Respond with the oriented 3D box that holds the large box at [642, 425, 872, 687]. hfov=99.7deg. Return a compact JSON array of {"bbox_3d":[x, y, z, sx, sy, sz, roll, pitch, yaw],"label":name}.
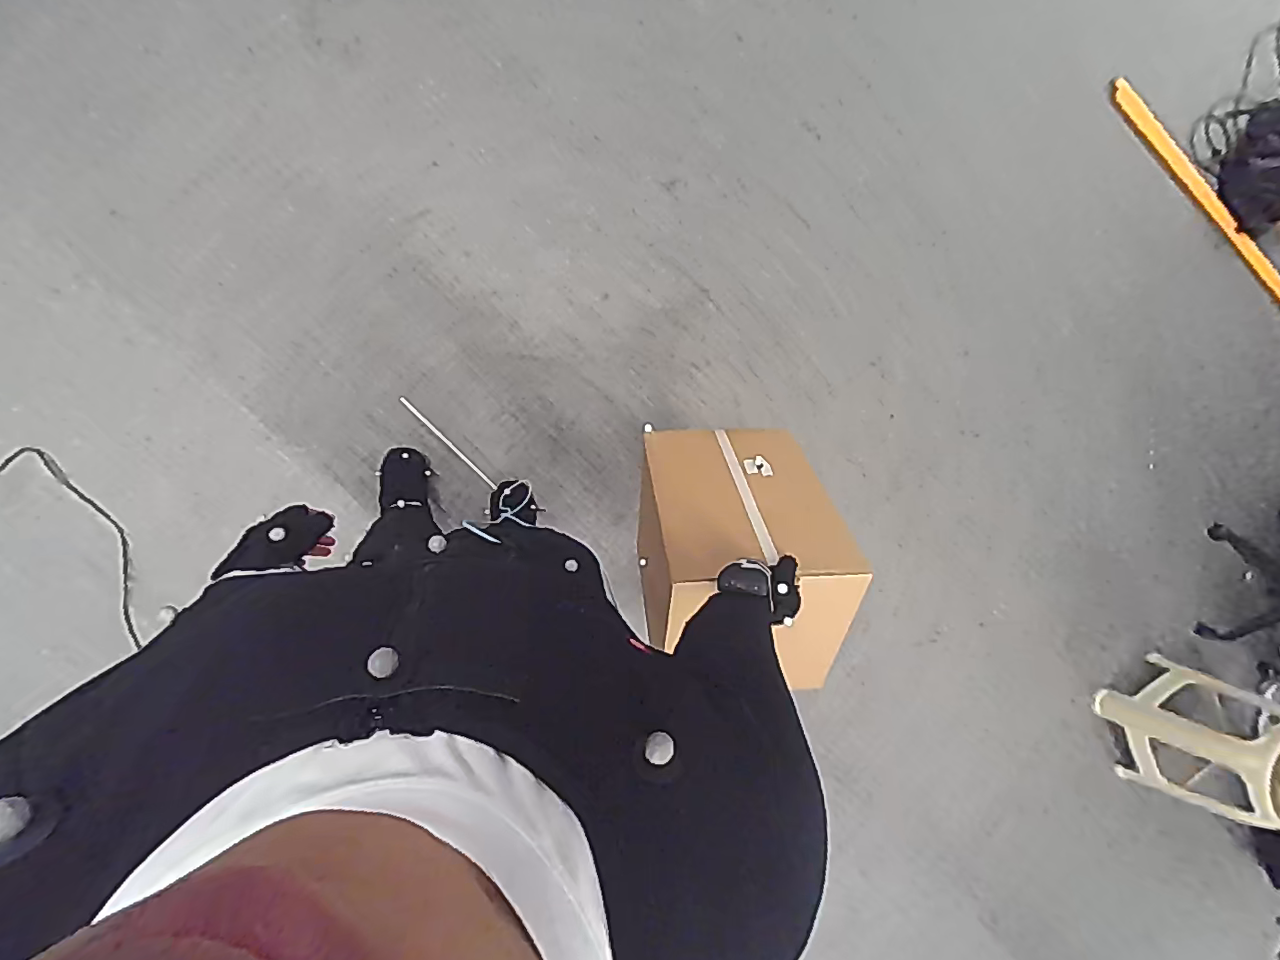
[{"bbox_3d":[0.181,0.133,1.055,0.320,0.408,0.320,-1,128,-7],"label":"large box"}]
